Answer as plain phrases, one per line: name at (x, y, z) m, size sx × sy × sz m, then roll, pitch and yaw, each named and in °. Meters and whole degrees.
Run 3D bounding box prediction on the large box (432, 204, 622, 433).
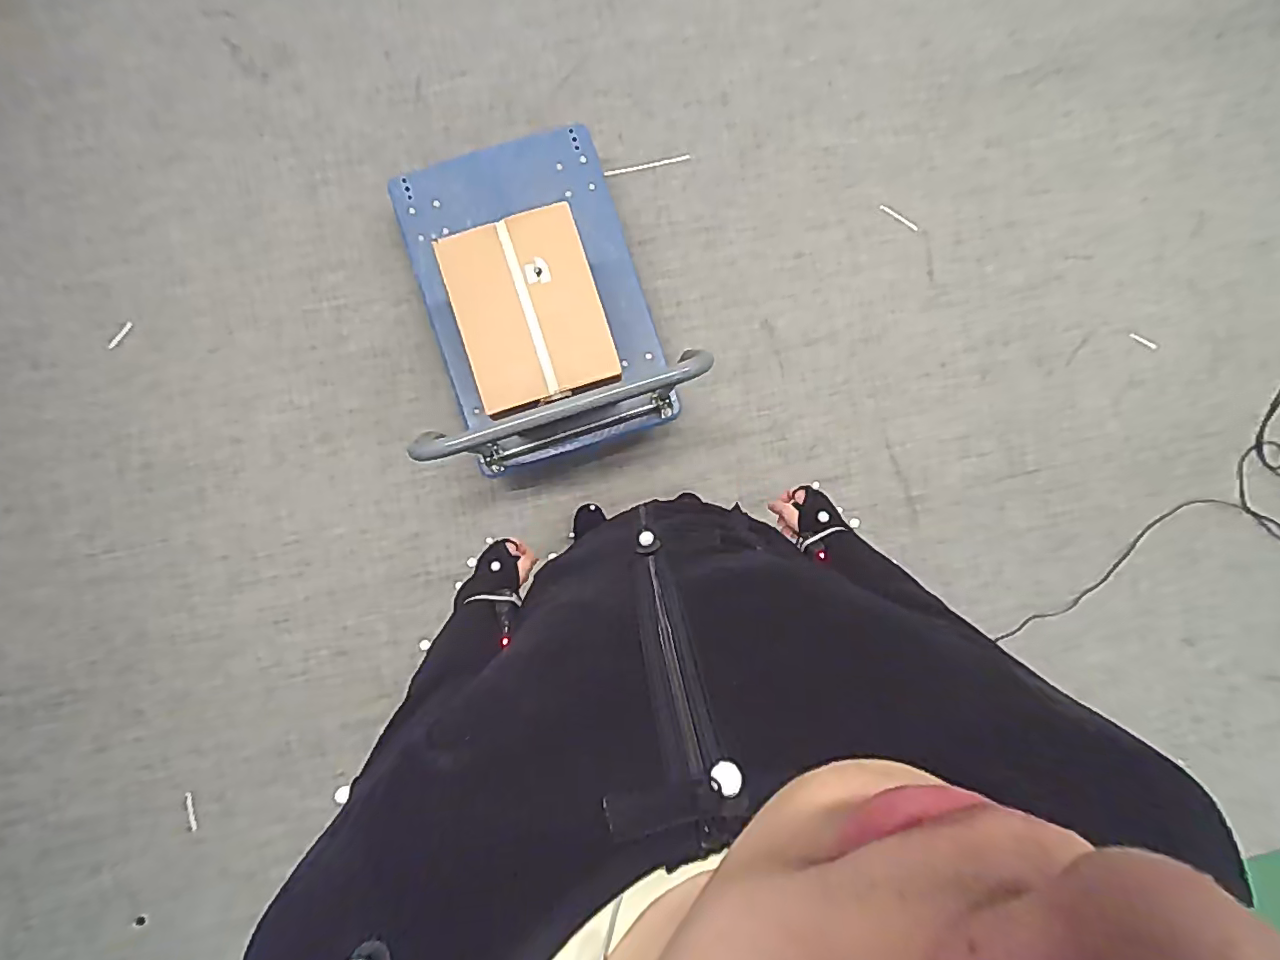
large box at (-0.251, -0.368, 1.325) m, size 0.320 × 0.320 × 0.408 m, roll -18°, pitch 88°, yaw -3°
